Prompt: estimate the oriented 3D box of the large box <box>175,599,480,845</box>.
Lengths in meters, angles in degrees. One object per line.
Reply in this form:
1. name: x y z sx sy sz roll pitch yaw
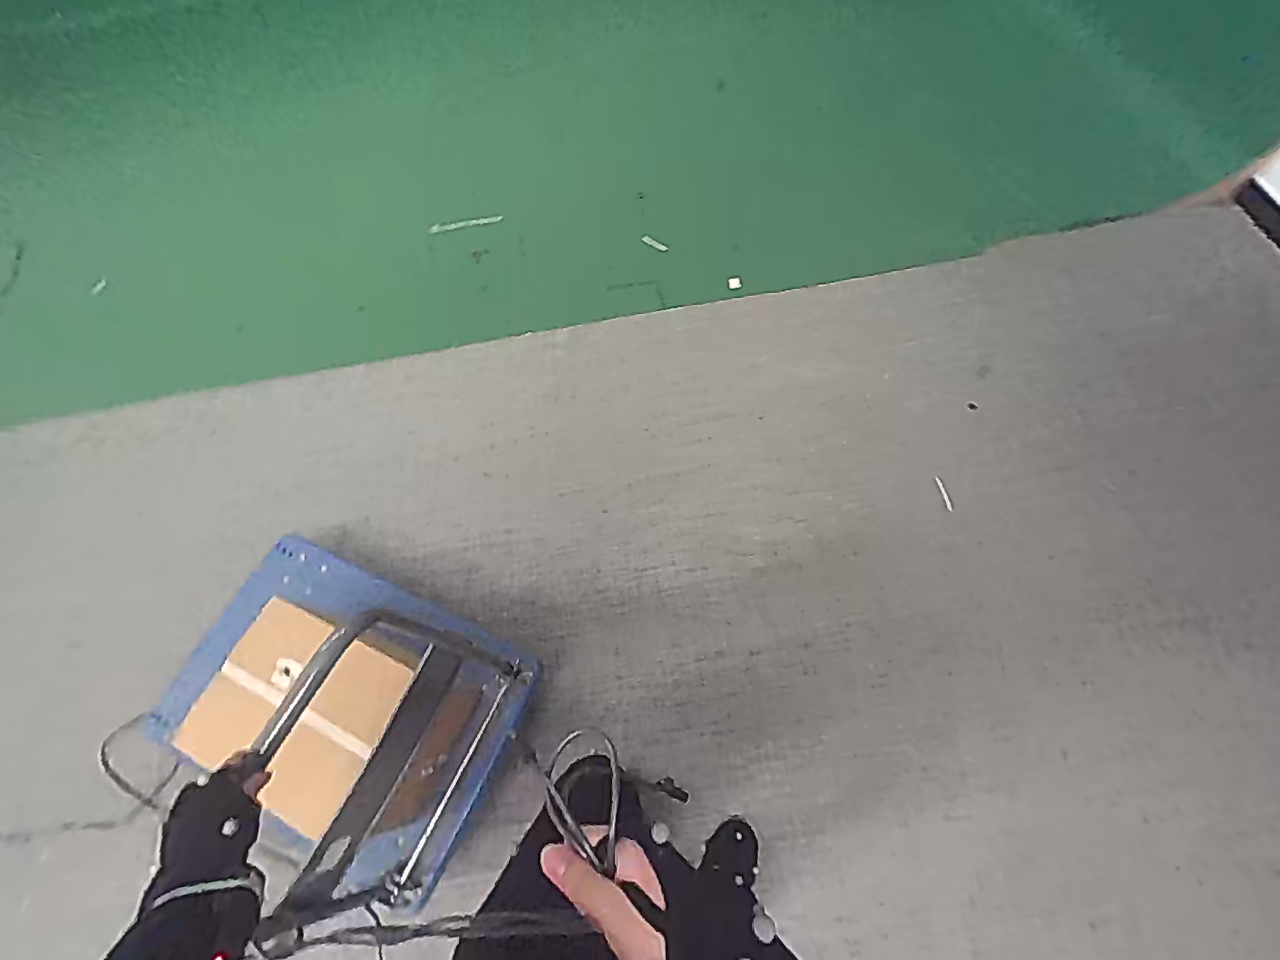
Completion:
1. large box: -0.634 0.504 1.168 0.408 0.320 0.320 21 68 16
